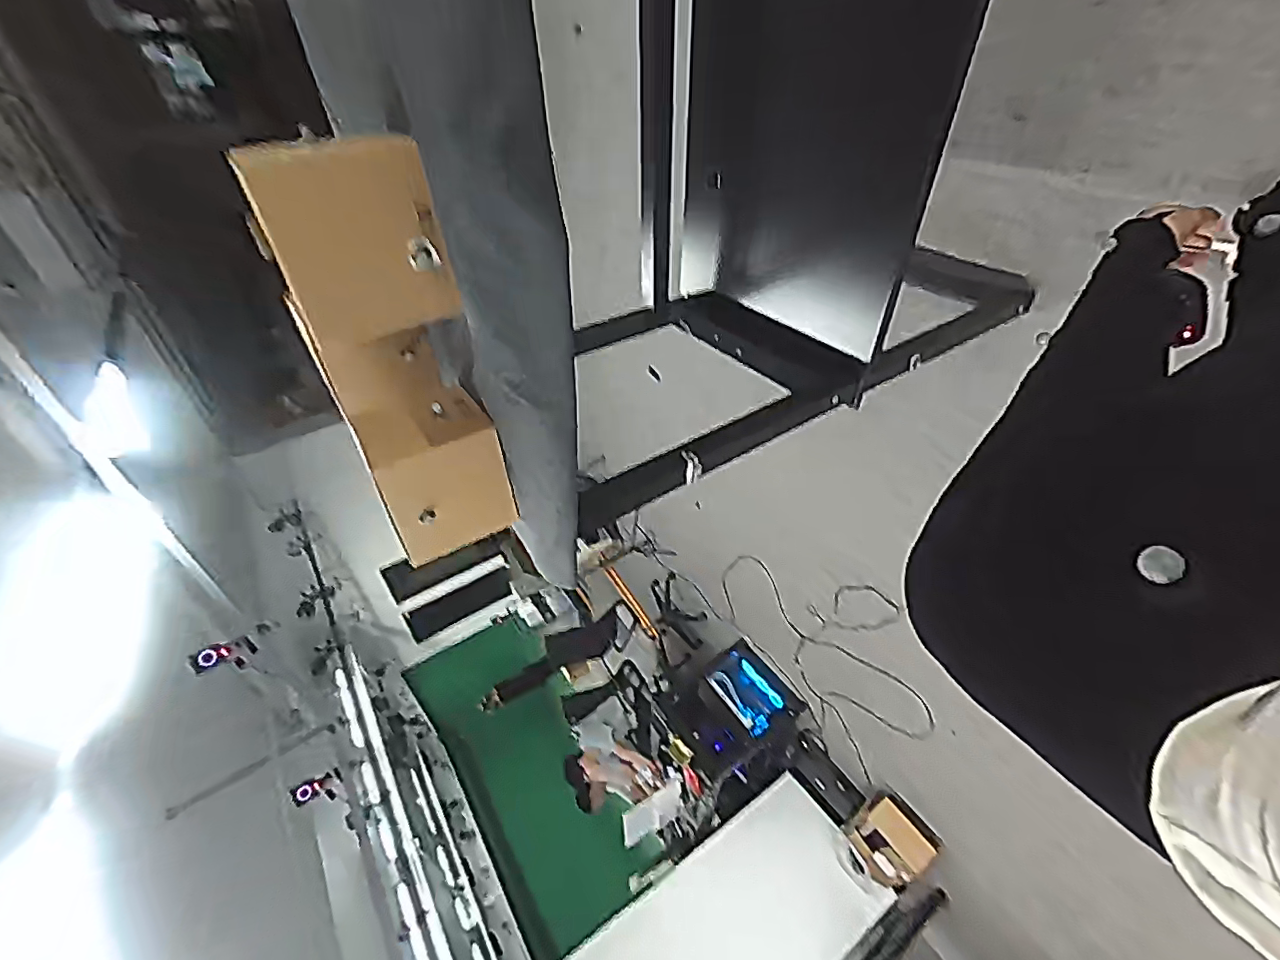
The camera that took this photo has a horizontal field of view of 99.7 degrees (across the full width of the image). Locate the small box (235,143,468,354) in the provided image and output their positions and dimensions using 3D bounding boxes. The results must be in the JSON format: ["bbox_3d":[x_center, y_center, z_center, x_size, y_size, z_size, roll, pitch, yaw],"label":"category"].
[{"bbox_3d":[-0.309,-0.263,0.596,0.179,0.176,0.168,42,147,43],"label":"small box"}]

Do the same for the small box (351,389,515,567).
[{"bbox_3d":[-0.301,-0.010,0.811,0.168,0.176,0.179,42,146,43],"label":"small box"}]

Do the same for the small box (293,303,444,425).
[{"bbox_3d":[-0.465,-0.228,0.938,0.168,0.176,0.179,41,146,41],"label":"small box"}]
